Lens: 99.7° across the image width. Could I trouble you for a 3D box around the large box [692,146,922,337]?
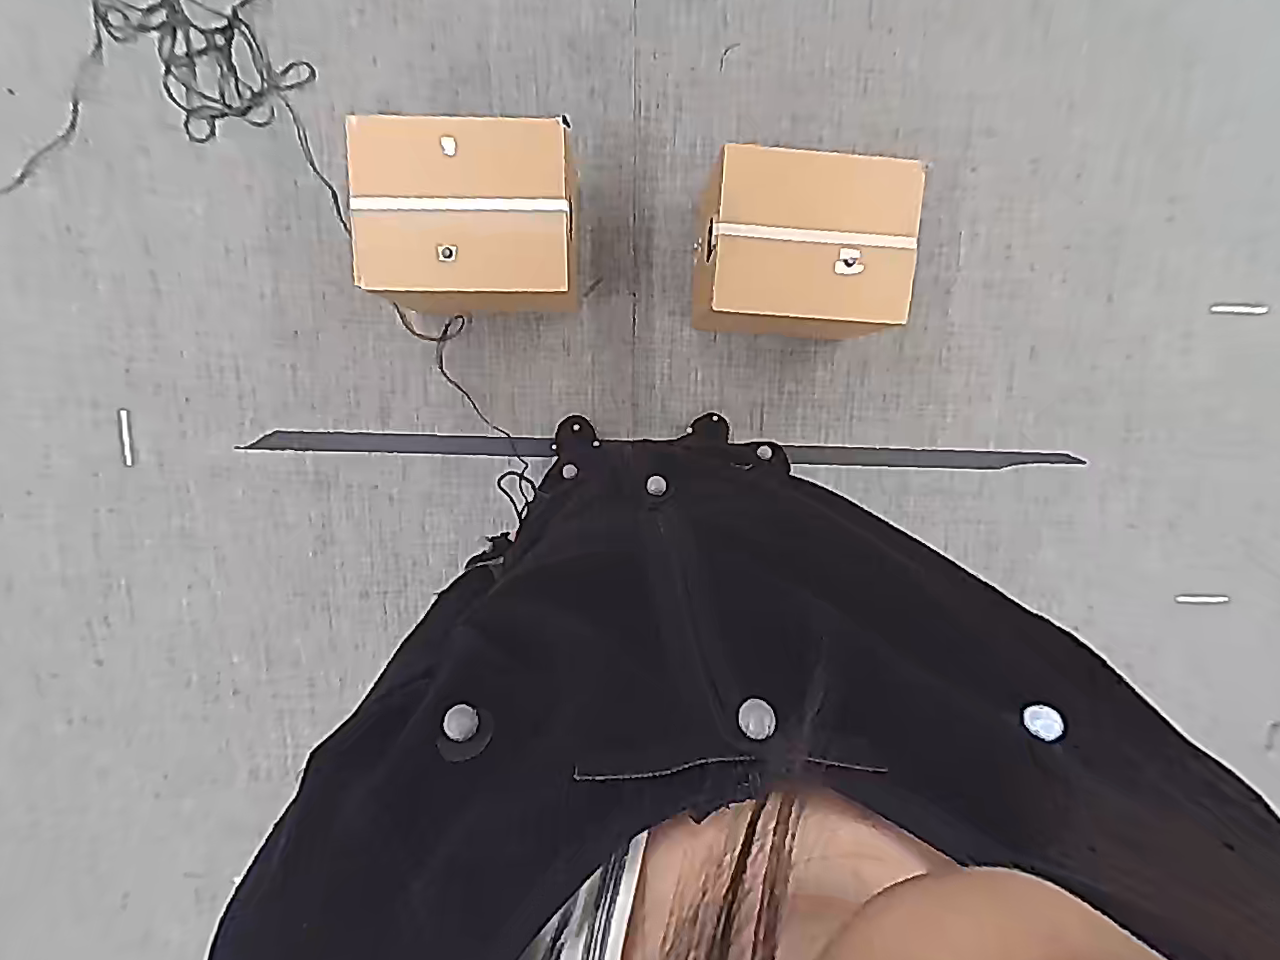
[{"bbox_3d":[0.344,-0.507,1.223,0.408,0.320,0.320,3,99,-4],"label":"large box"}]
